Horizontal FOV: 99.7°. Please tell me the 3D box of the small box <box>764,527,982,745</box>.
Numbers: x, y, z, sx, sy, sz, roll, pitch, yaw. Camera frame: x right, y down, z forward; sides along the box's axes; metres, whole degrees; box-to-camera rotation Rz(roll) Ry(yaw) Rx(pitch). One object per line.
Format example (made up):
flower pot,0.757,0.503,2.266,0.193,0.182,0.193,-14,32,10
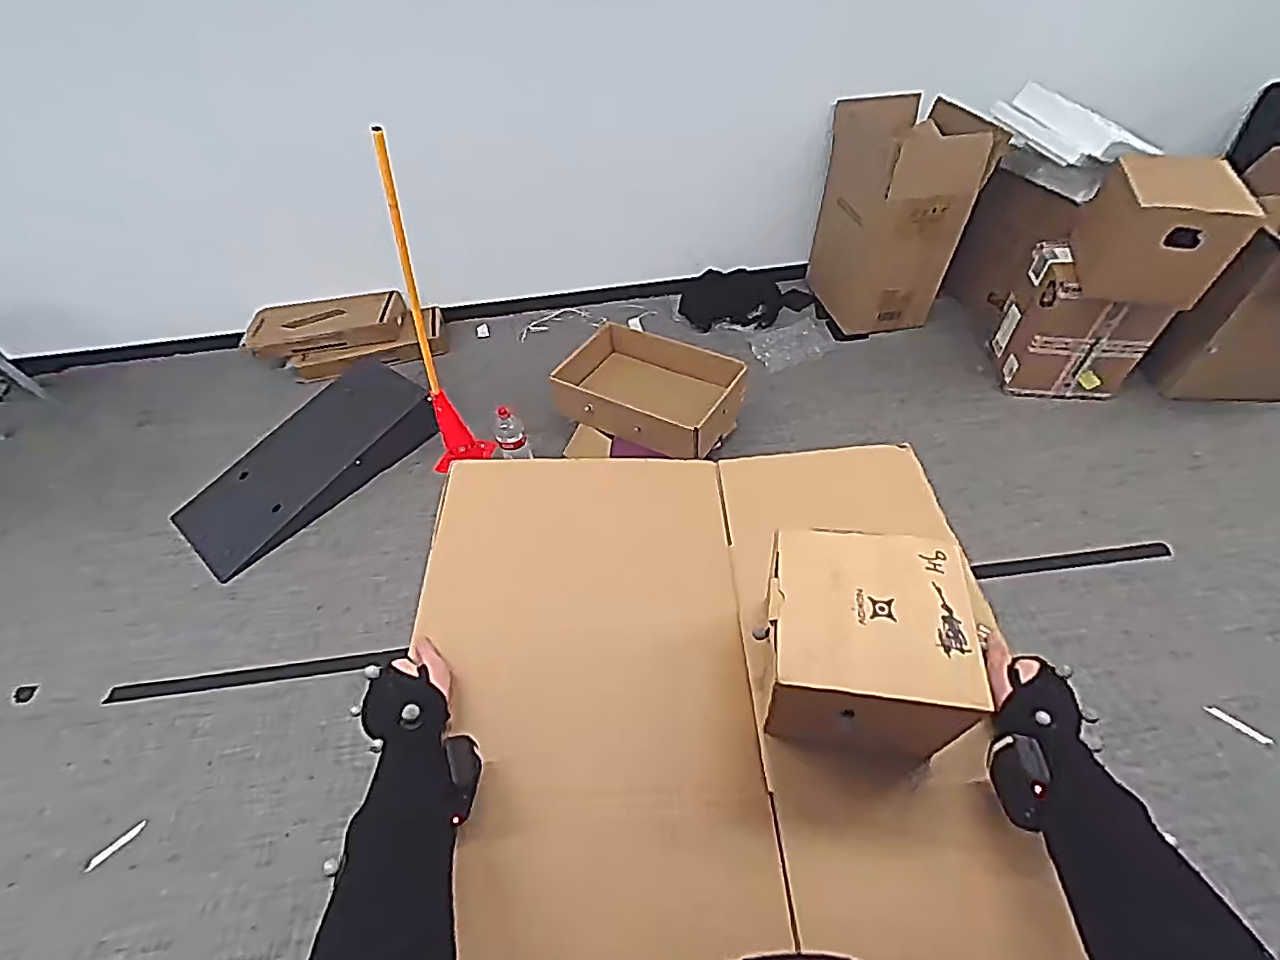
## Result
small box,0.225,0.167,0.574,0.179,0.176,0.168,3,53,12
